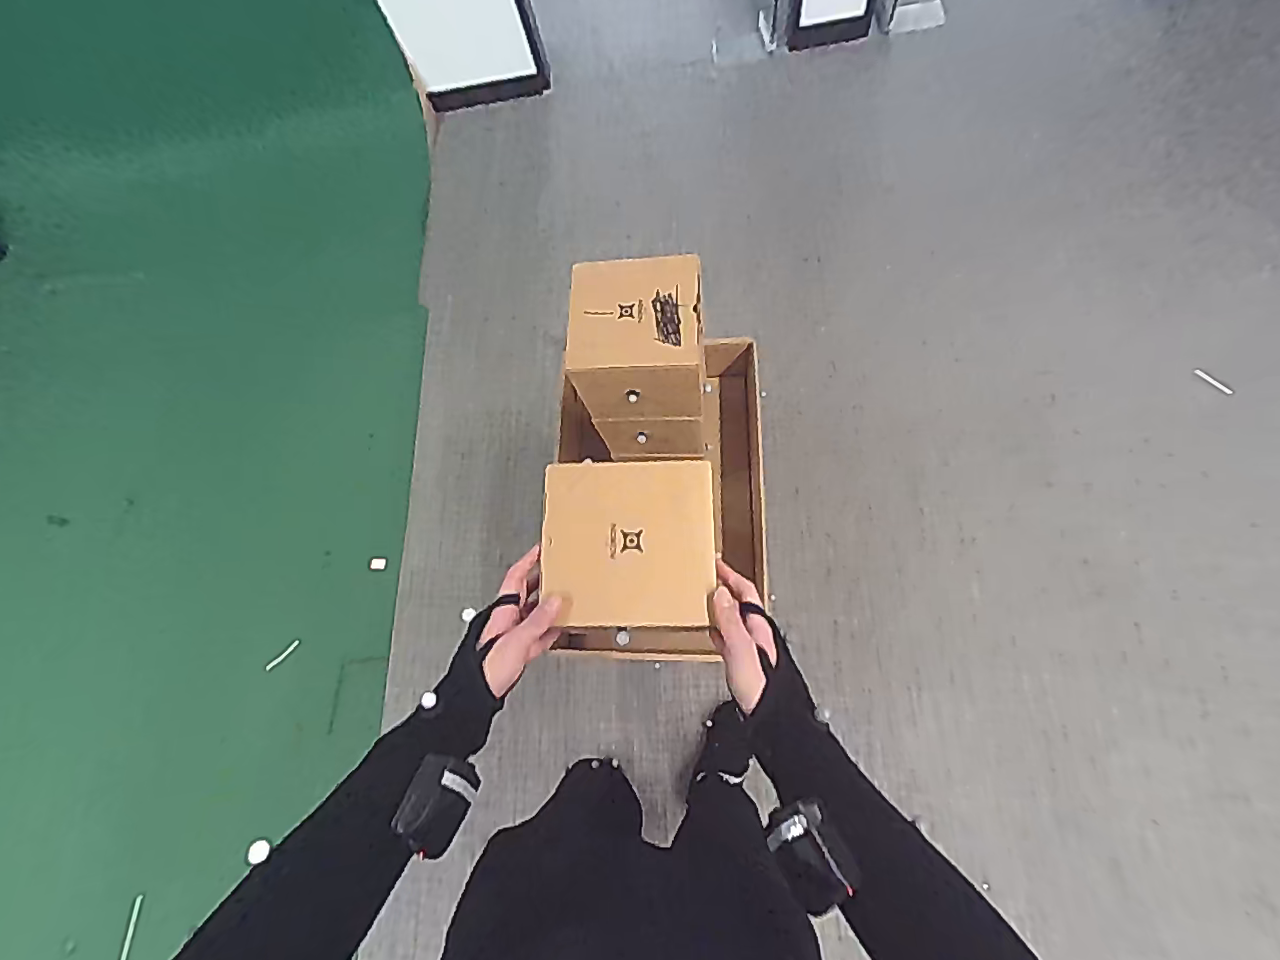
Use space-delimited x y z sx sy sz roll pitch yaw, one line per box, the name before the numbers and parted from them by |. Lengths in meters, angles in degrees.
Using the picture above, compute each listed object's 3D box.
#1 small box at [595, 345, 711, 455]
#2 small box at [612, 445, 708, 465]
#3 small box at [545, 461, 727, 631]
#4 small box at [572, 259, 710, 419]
small box | 0.031 -0.146 0.940 0.179 0.176 0.168 1 74 9
small box | 0.050 -0.095 1.095 0.179 0.176 0.168 2 73 7
small box | 0.000 0.083 0.615 0.179 0.176 0.168 0 73 3
small box | 0.012 -0.194 0.784 0.179 0.176 0.168 0 74 8
